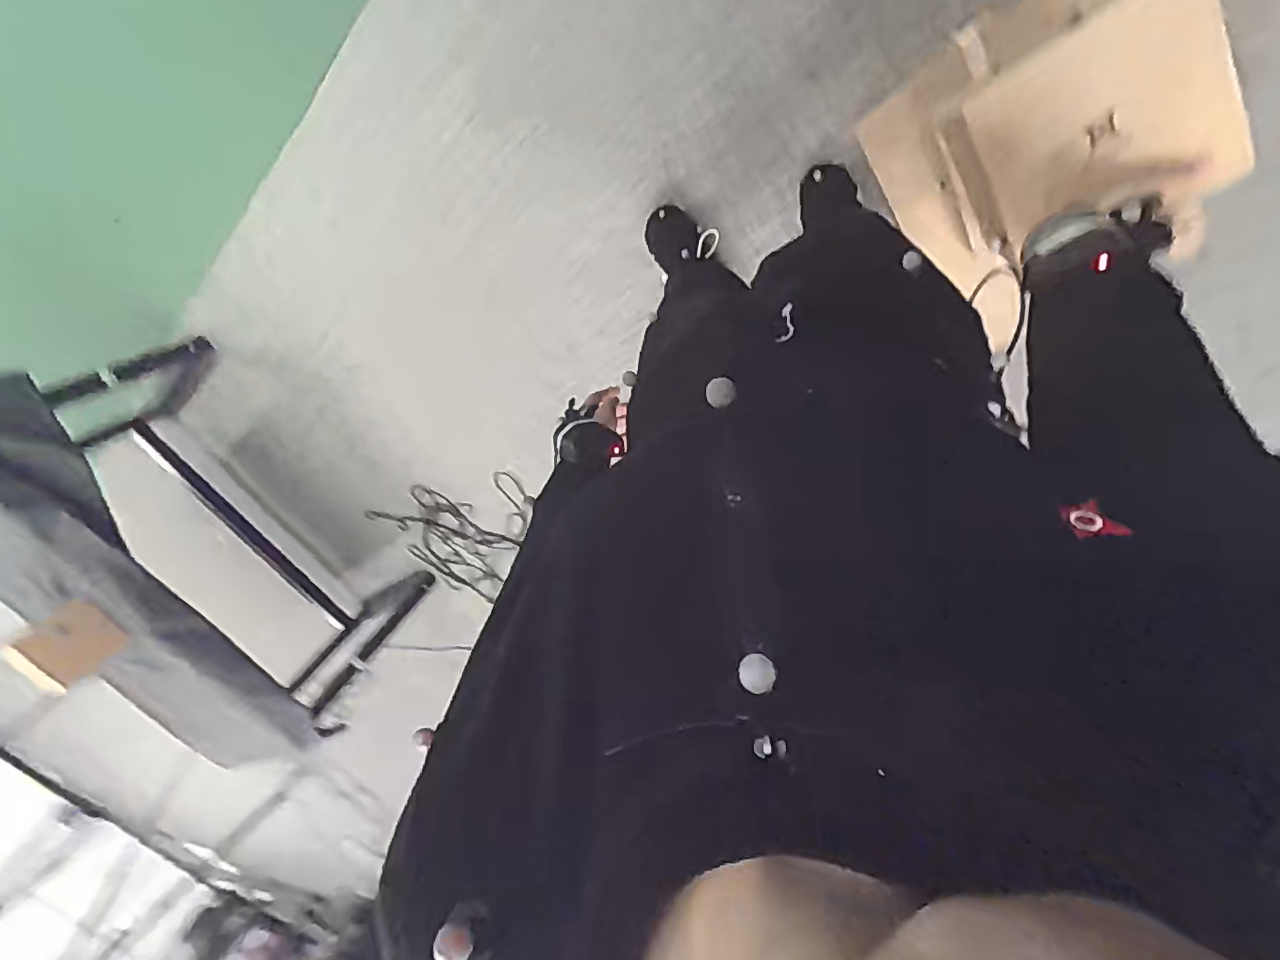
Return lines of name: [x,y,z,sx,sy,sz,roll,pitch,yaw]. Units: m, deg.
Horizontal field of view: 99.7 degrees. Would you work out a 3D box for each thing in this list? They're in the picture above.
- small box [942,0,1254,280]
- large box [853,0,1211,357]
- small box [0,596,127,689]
small box: [0.416,-0.328,0.523,0.168,0.176,0.179,-24,111,31]
large box: [0.583,-0.485,0.868,0.320,0.320,0.408,-25,112,33]
small box: [-1.536,0.423,1.428,0.168,0.176,0.179,-16,116,30]
